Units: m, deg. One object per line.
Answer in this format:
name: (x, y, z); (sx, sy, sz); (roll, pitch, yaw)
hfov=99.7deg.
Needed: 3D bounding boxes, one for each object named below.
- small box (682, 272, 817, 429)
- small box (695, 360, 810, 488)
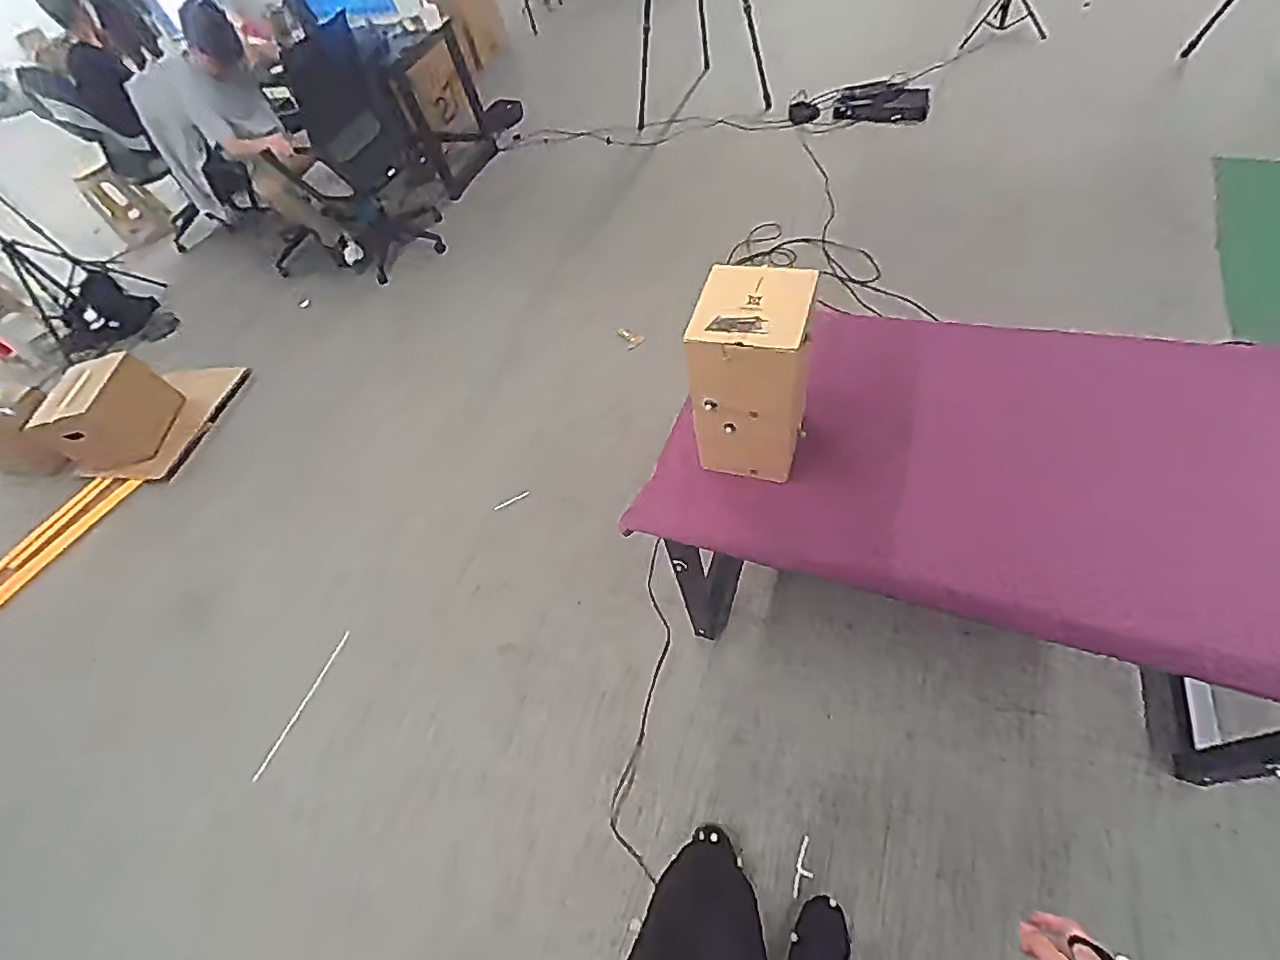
small box: (0.178, -0.203, 0.859); (0.168, 0.176, 0.179); (11, 59, 20)
small box: (0.209, -0.112, 0.993); (0.168, 0.176, 0.179); (11, 59, 20)
